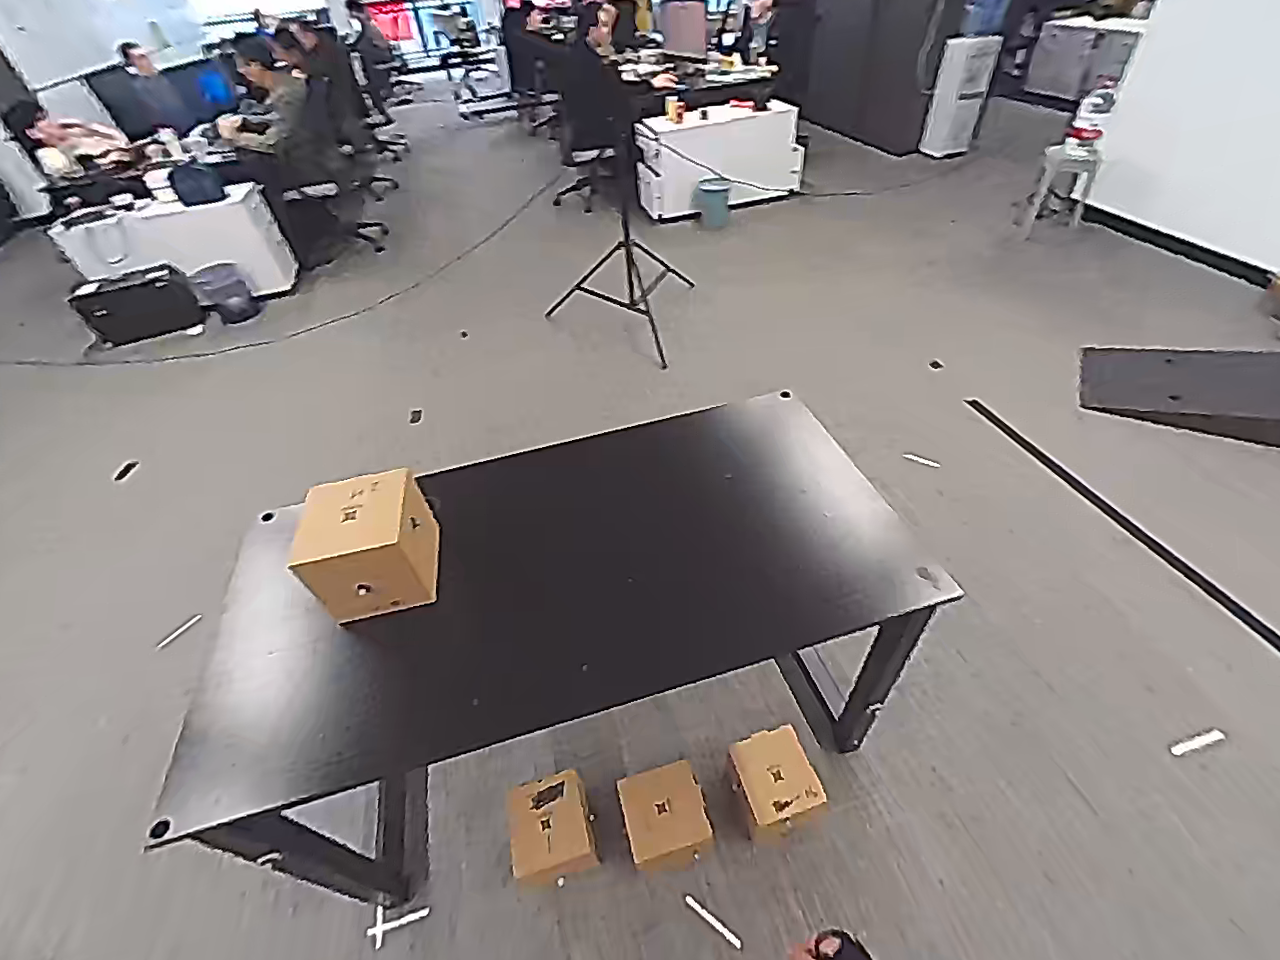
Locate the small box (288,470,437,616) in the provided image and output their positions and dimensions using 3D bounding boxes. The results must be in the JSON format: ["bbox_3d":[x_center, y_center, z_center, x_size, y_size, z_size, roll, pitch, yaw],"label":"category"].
[{"bbox_3d":[-0.459,0.114,0.927,0.168,0.176,0.179,-12,45,-6],"label":"small box"}]

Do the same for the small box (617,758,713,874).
[{"bbox_3d":[0.057,0.774,1.243,0.179,0.176,0.168,-15,45,-7],"label":"small box"}]

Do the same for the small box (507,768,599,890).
[{"bbox_3d":[-0.199,0.802,1.242,0.168,0.176,0.179,-15,46,-8],"label":"small box"}]

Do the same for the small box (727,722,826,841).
[{"bbox_3d":[0.310,0.710,1.274,0.168,0.176,0.179,-16,45,-8],"label":"small box"}]
